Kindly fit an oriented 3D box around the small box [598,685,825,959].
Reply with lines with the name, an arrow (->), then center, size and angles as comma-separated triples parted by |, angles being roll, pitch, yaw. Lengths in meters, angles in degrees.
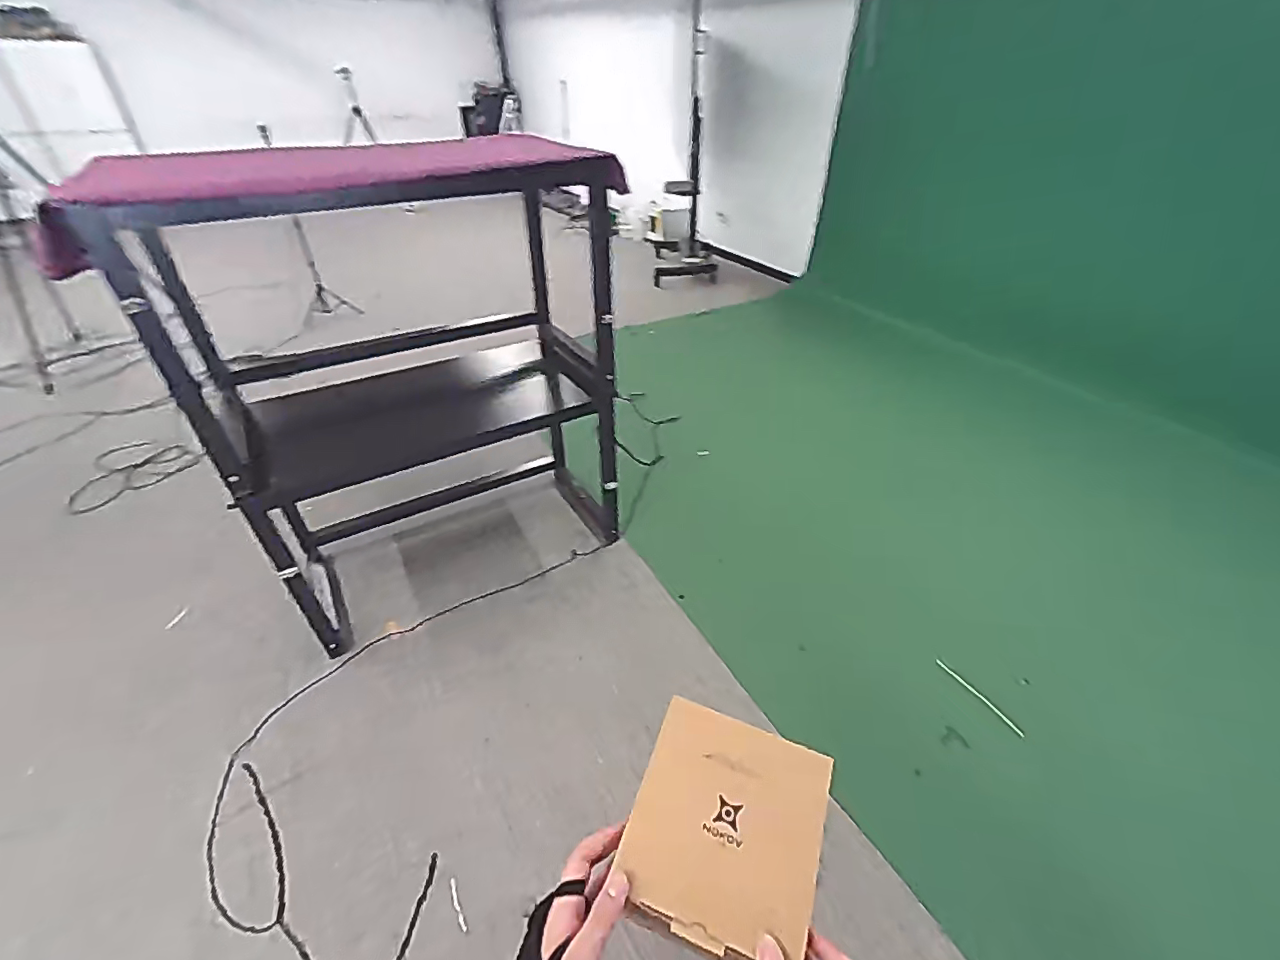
small box -> 0.070, 0.347, 0.543 | 0.168, 0.176, 0.179 | 17, 48, 13
